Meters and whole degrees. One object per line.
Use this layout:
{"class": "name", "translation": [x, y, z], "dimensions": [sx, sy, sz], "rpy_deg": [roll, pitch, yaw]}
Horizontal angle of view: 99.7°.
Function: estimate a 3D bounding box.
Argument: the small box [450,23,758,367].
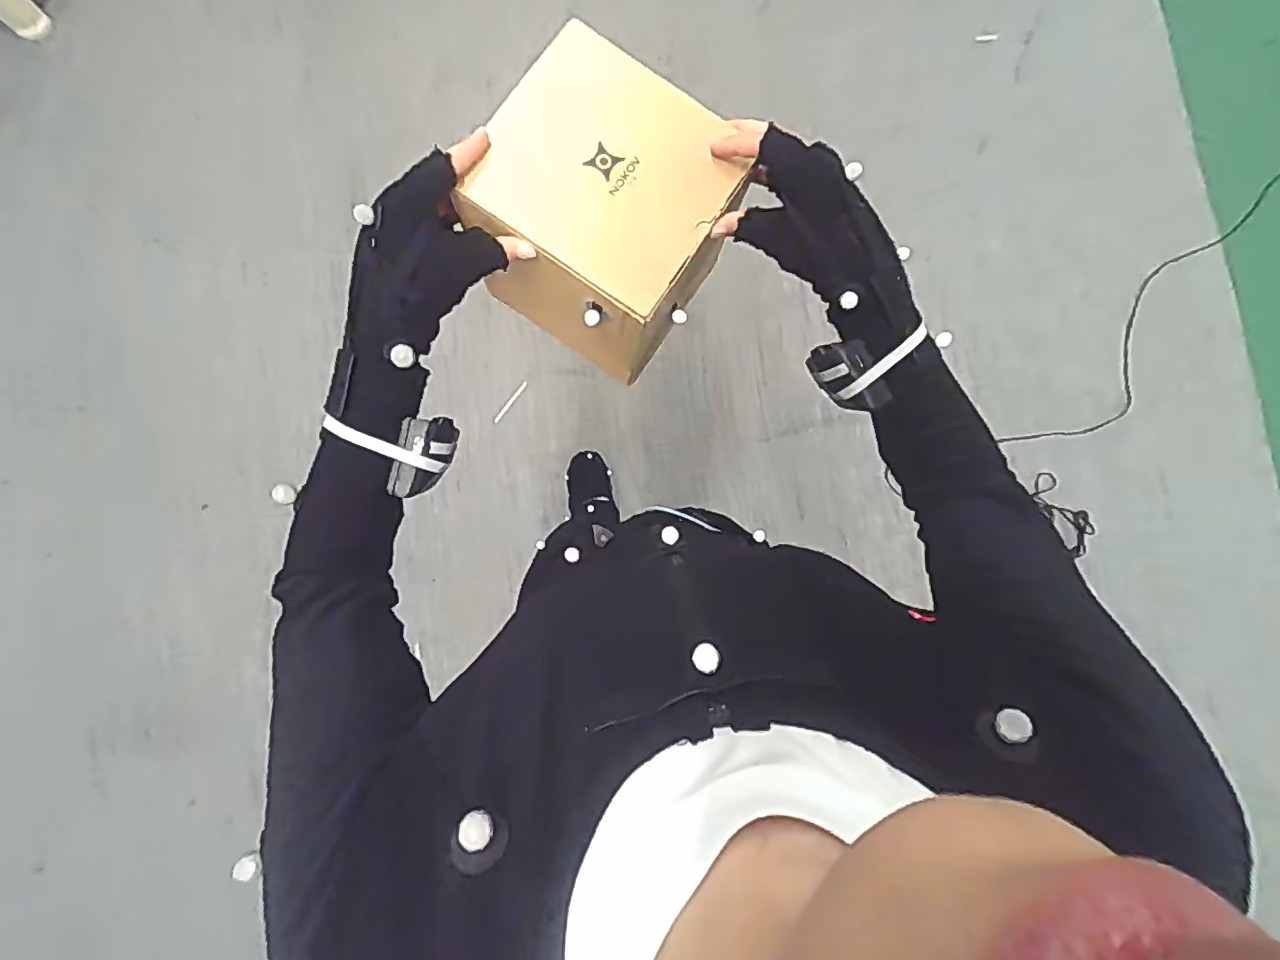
{"class": "small box", "translation": [-0.033, -0.227, 0.480], "dimensions": [0.179, 0.176, 0.168], "rpy_deg": [35, 80, -3]}
